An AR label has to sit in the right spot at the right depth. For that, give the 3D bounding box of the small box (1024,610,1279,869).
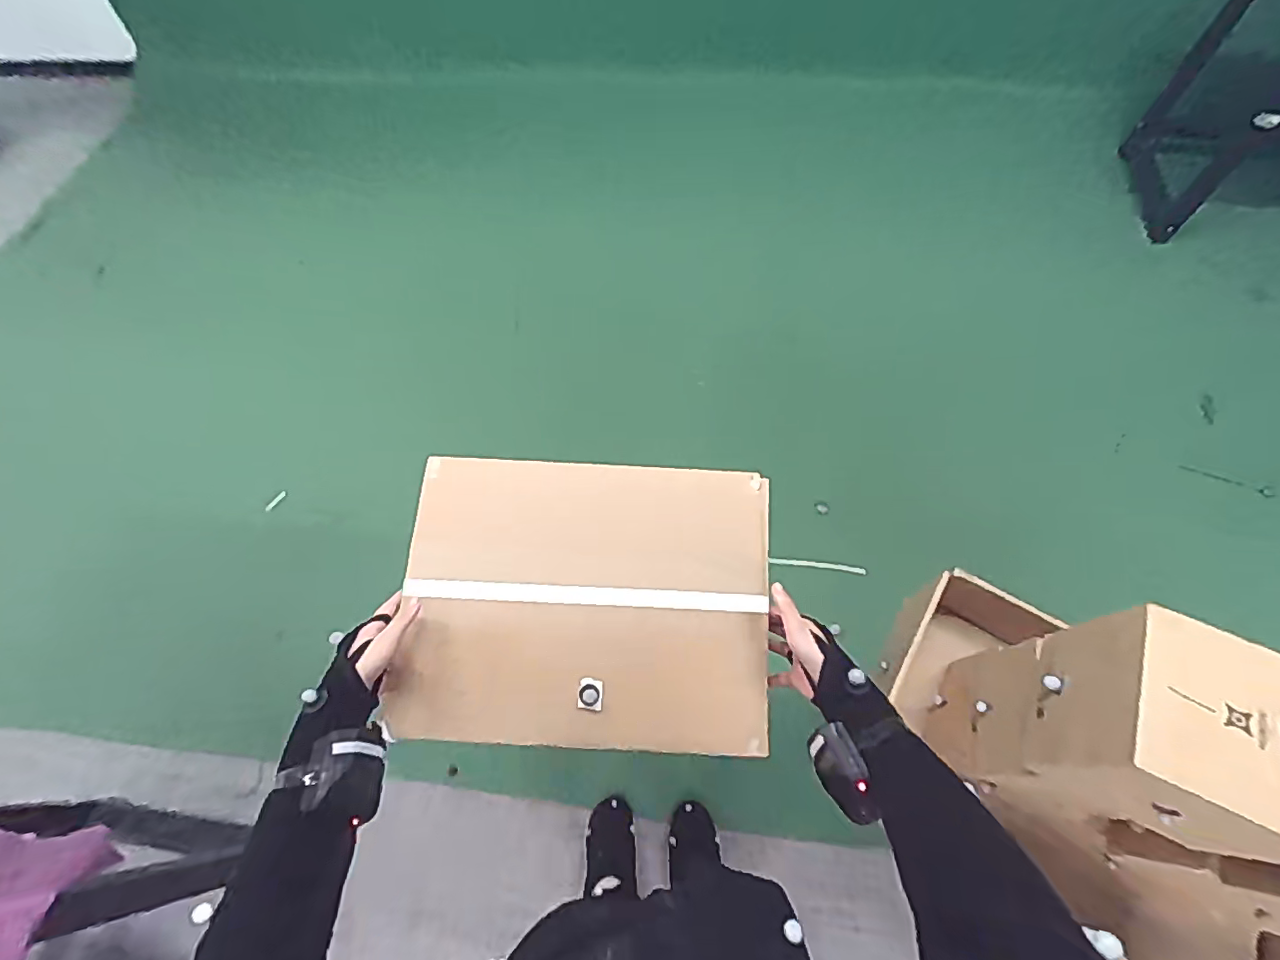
[{"bbox_3d":[0.541,0.261,0.550,0.179,0.176,0.168,23,64,16],"label":"small box"}]
